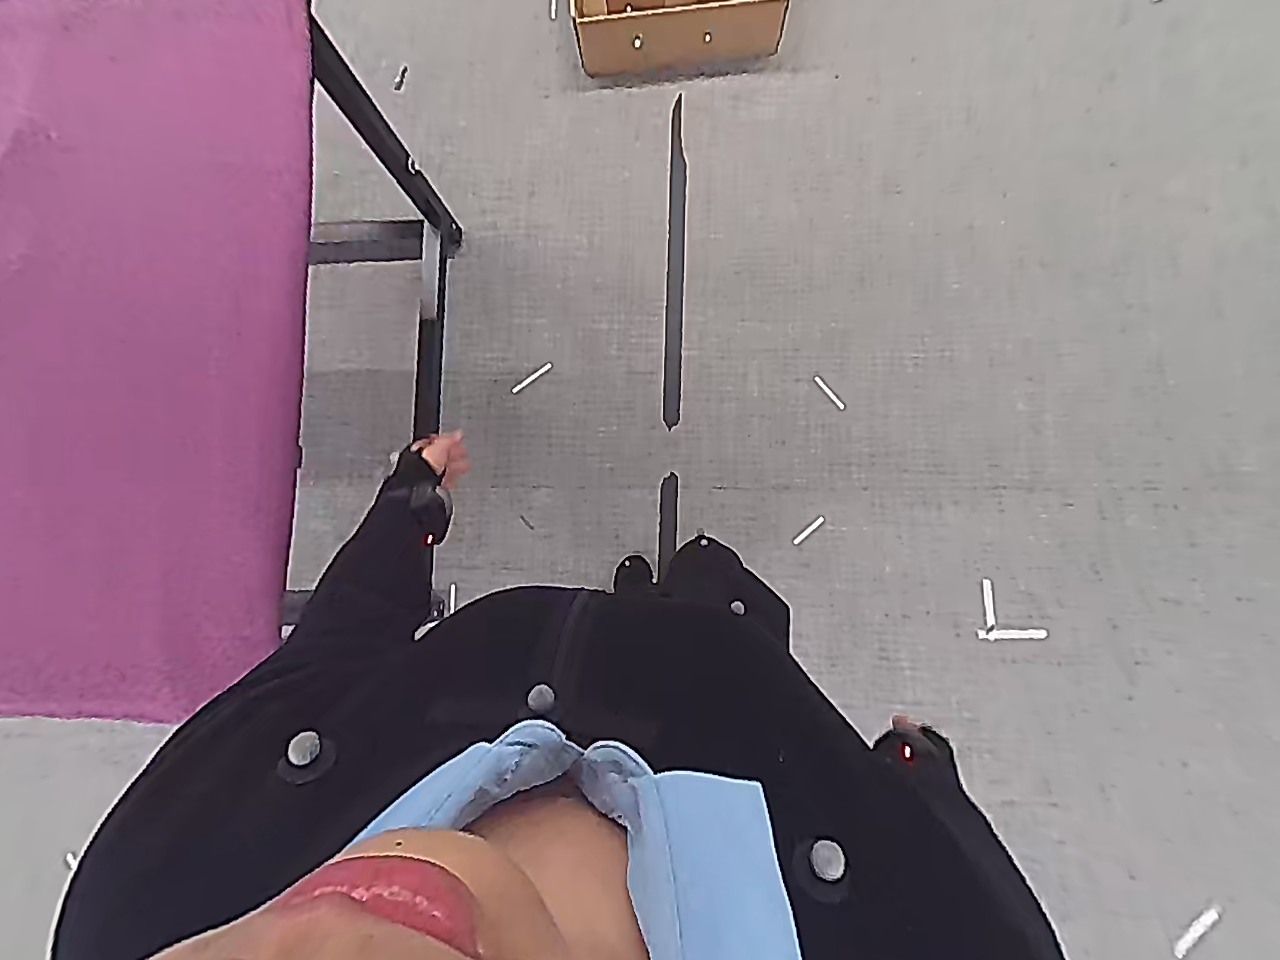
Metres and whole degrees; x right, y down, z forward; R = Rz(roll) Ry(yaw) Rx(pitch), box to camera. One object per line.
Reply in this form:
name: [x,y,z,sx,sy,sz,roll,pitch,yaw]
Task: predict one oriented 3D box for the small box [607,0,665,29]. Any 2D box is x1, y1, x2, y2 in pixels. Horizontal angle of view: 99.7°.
small box: [-0.008,-1.486,1.587,0.168,0.176,0.179,7,83,3]
